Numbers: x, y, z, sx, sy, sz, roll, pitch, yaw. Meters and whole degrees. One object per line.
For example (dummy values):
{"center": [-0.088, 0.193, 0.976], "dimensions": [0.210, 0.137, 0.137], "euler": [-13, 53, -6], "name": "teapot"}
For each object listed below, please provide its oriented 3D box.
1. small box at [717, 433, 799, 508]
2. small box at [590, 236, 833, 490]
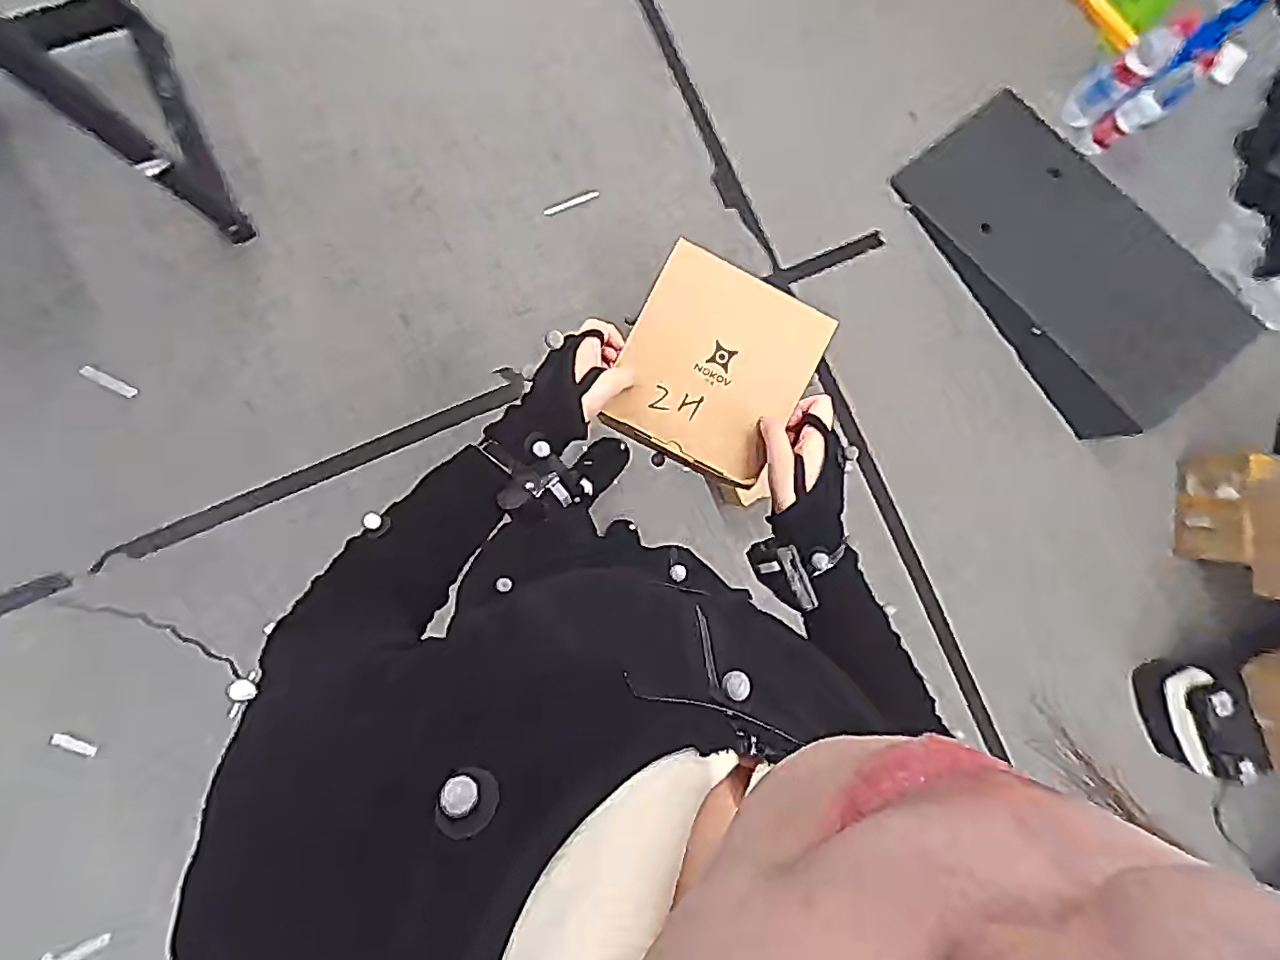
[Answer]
{"center": [0.291, -0.040, 1.439], "dimensions": [0.168, 0.176, 0.179], "euler": [-25, 92, -6], "name": "small box"}
{"center": [0.060, -0.105, 0.558], "dimensions": [0.168, 0.176, 0.179], "euler": [26, 91, -2], "name": "small box"}
